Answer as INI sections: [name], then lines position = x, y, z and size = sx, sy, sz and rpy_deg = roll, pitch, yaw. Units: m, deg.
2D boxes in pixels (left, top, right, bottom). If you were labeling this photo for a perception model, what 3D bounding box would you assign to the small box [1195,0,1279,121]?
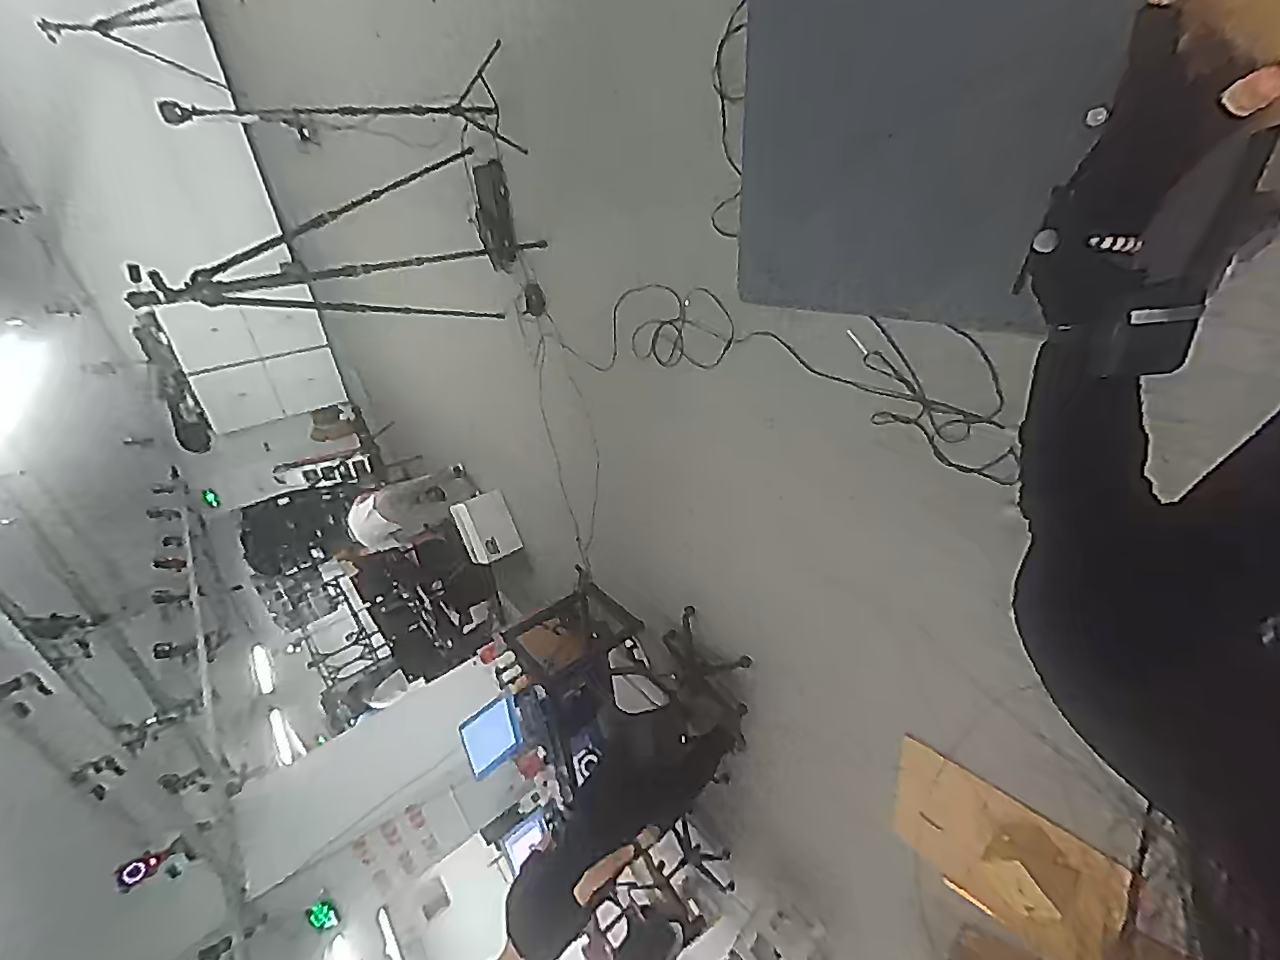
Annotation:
[small box]
position = 0.392, -0.310, 0.254
size = 0.168, 0.176, 0.179
rpy_deg = -20, 100, 40
